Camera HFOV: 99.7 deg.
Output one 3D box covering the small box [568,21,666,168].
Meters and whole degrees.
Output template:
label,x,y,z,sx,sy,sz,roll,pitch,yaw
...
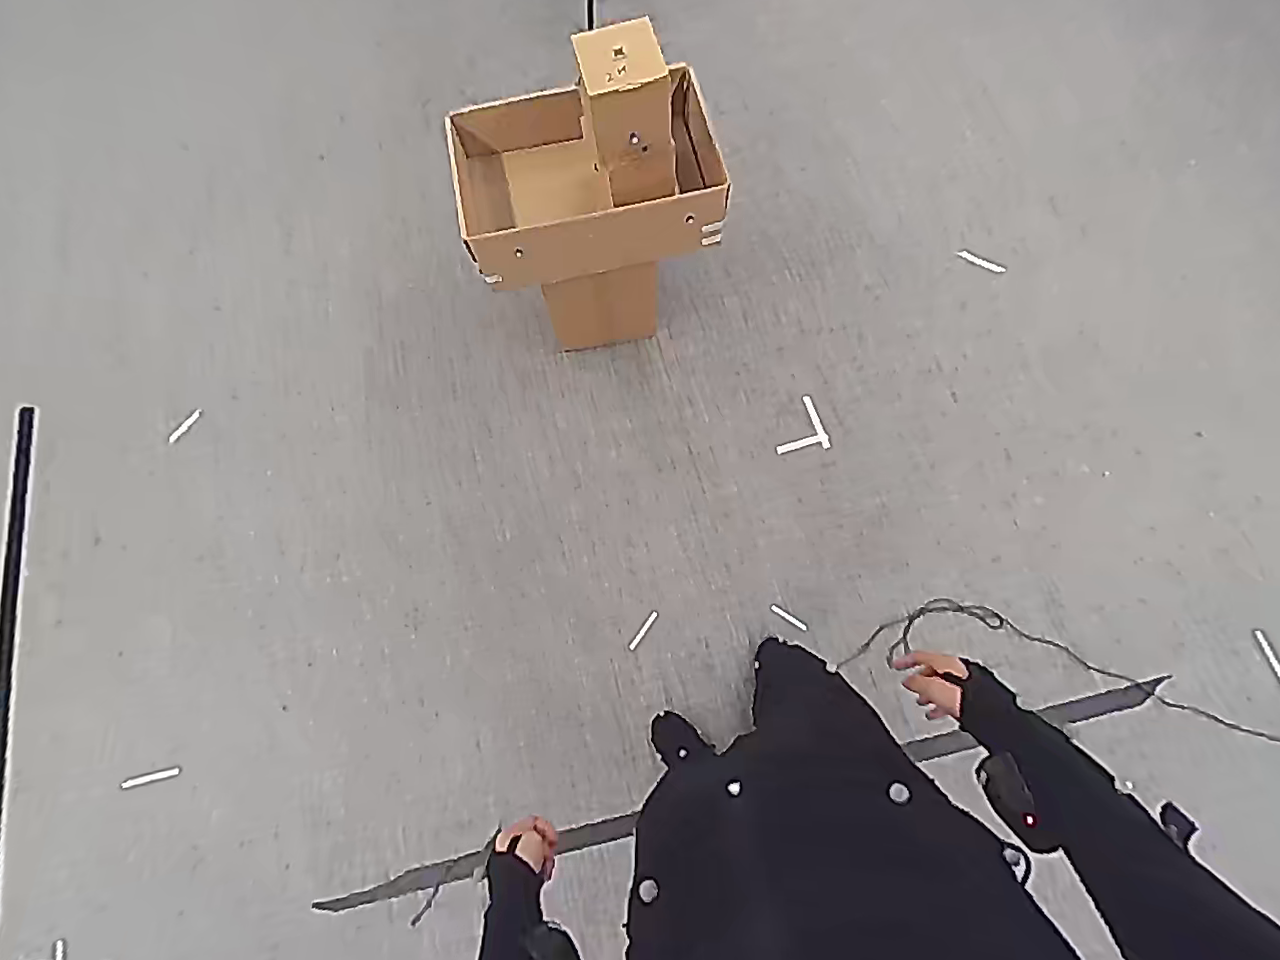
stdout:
label,x,y,z,sx,sy,sz,roll,pitch,yaw
small box,-0.045,-0.810,1.148,0.168,0.176,0.179,-15,74,0
